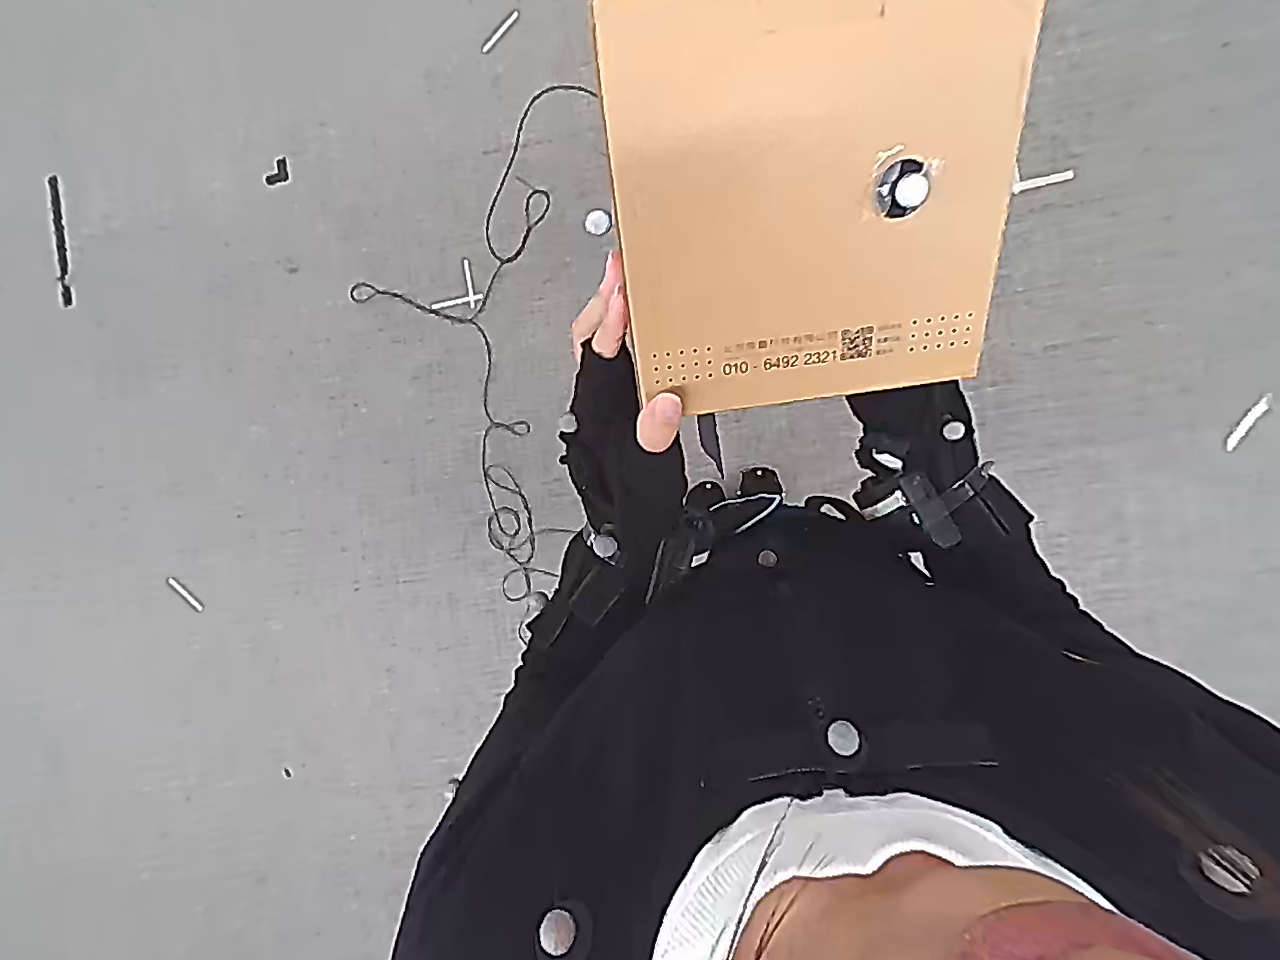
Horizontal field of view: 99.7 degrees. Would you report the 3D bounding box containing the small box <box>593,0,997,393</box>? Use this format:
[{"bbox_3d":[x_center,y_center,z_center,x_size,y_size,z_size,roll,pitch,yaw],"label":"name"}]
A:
[{"bbox_3d":[0.071,-0.156,0.320,0.168,0.179,0.176,-7,119,2],"label":"small box"}]
